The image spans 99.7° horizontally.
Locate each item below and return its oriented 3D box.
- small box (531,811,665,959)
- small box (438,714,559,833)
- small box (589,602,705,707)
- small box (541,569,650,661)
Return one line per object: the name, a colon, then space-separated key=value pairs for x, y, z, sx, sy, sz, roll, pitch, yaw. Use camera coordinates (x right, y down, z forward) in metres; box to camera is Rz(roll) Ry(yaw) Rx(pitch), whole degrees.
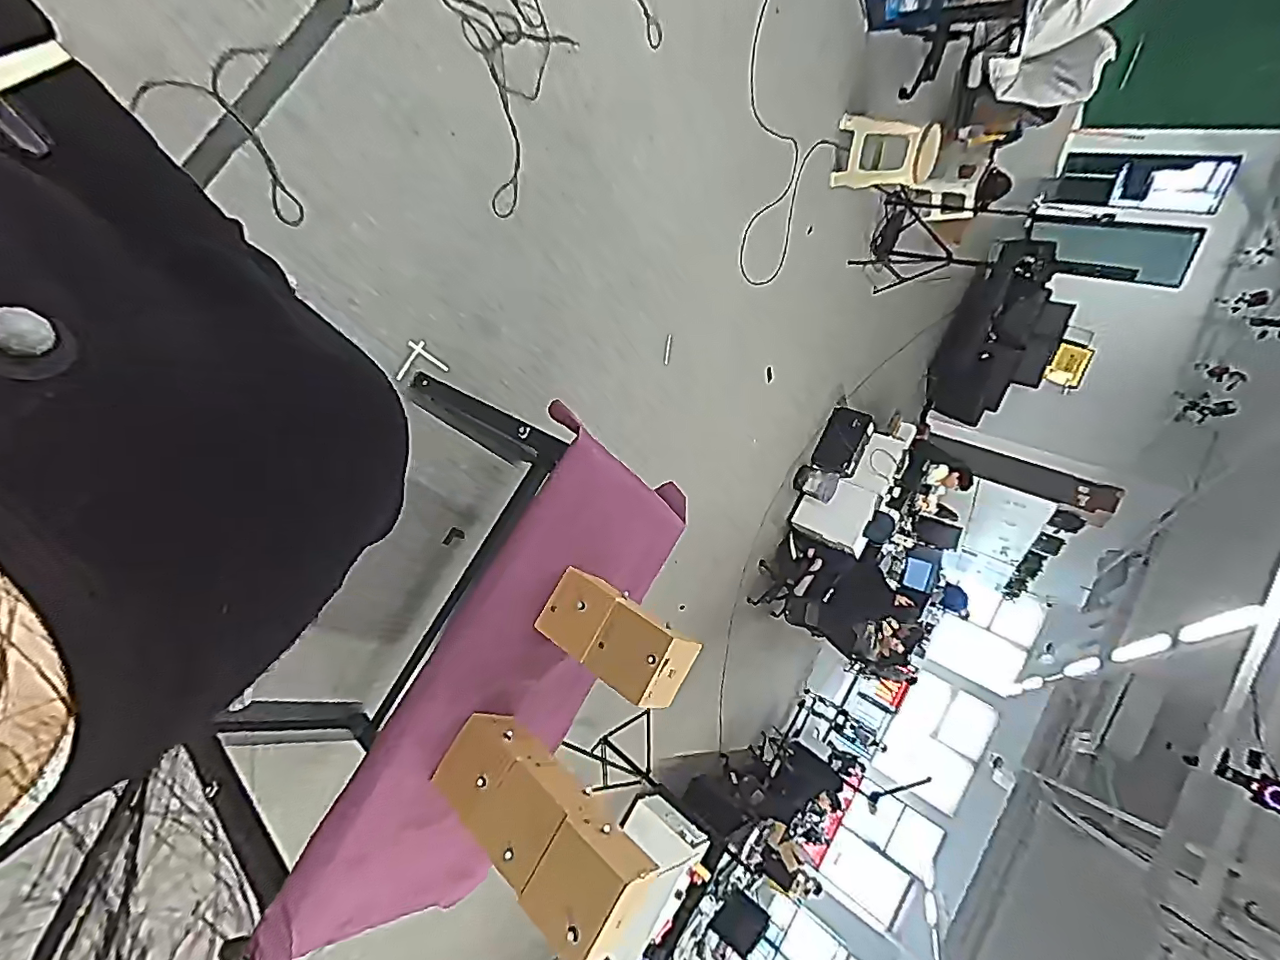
small box: x=-0.087 y=0.791 z=1.059 sx=0.179 sy=0.176 sz=0.168 roll=-59 pitch=146 yaw=-9
small box: x=-0.328 y=0.665 z=1.246 sx=0.179 sy=0.176 sz=0.168 roll=-58 pitch=145 yaw=-9
small box: x=0.016 y=0.398 z=1.242 sx=0.168 sy=0.176 sz=0.179 roll=-61 pitch=148 yaw=-6
small box: x=-0.110 y=0.335 z=1.326 sx=0.168 sy=0.176 sz=0.179 roll=-60 pitch=147 yaw=-7
